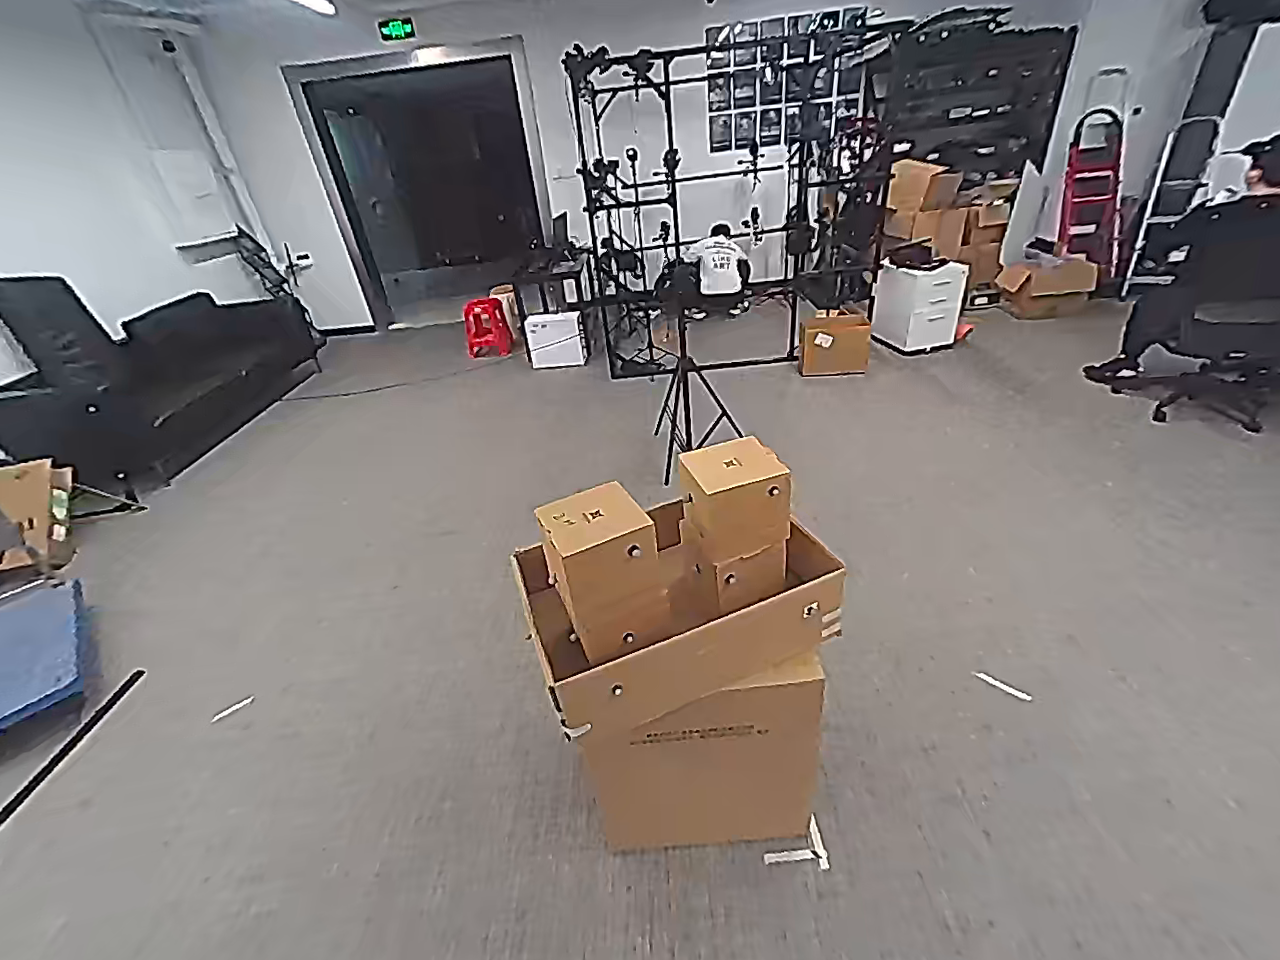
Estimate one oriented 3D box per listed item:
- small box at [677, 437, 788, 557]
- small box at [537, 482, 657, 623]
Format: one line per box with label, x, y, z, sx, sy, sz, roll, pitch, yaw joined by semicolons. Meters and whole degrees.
small box;0.193;0.036;1.124;0.179;0.176;0.168;-15;33;-11
small box;-0.077;0.135;1.023;0.179;0.176;0.168;-20;34;-18
